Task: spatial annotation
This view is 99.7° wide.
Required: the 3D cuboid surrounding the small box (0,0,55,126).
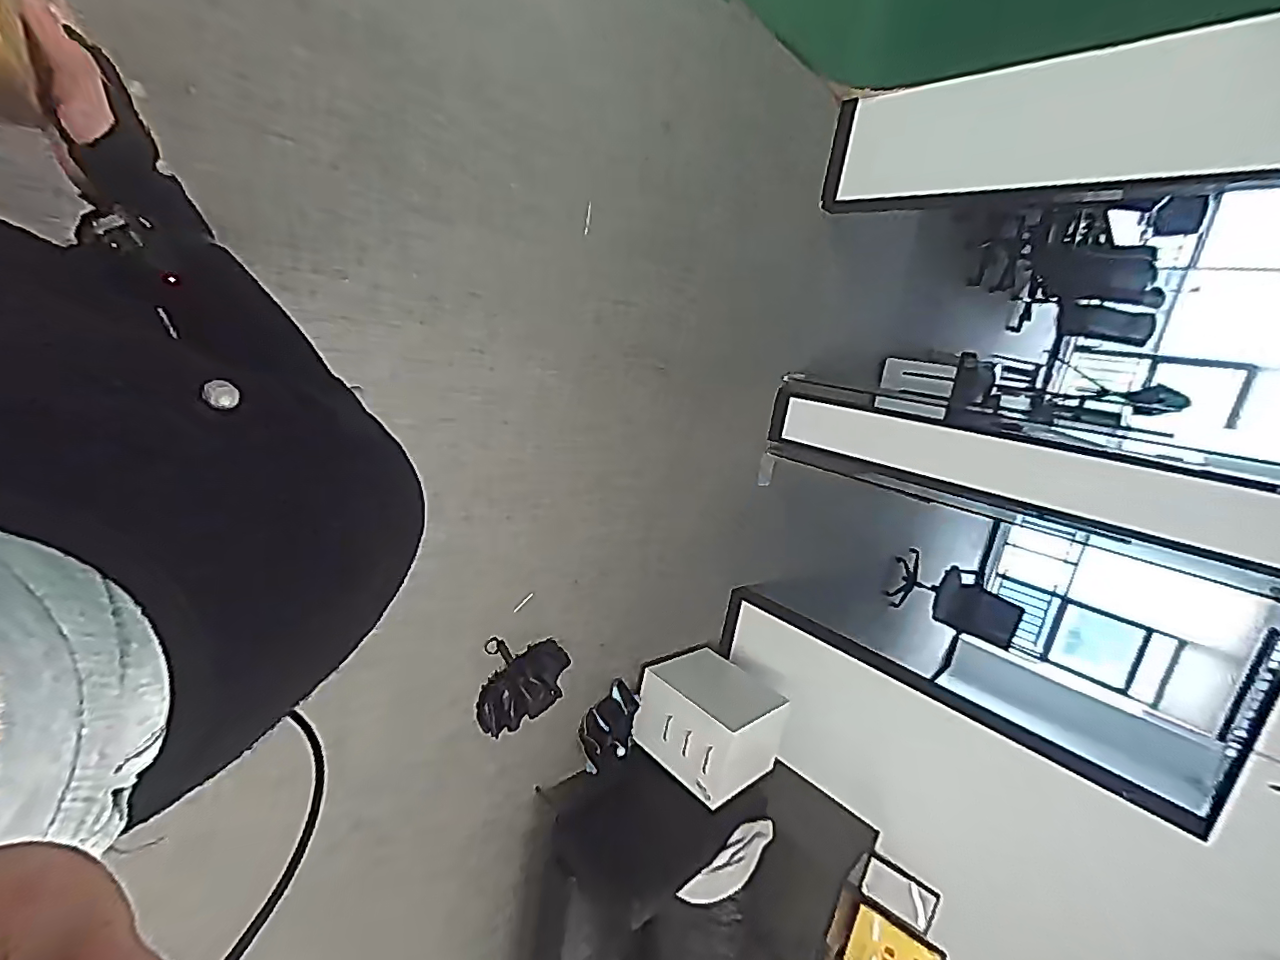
[{"bbox_3d":[-0.466,-0.321,0.290,0.179,0.176,0.168,-10,108,-40],"label":"small box"}]
